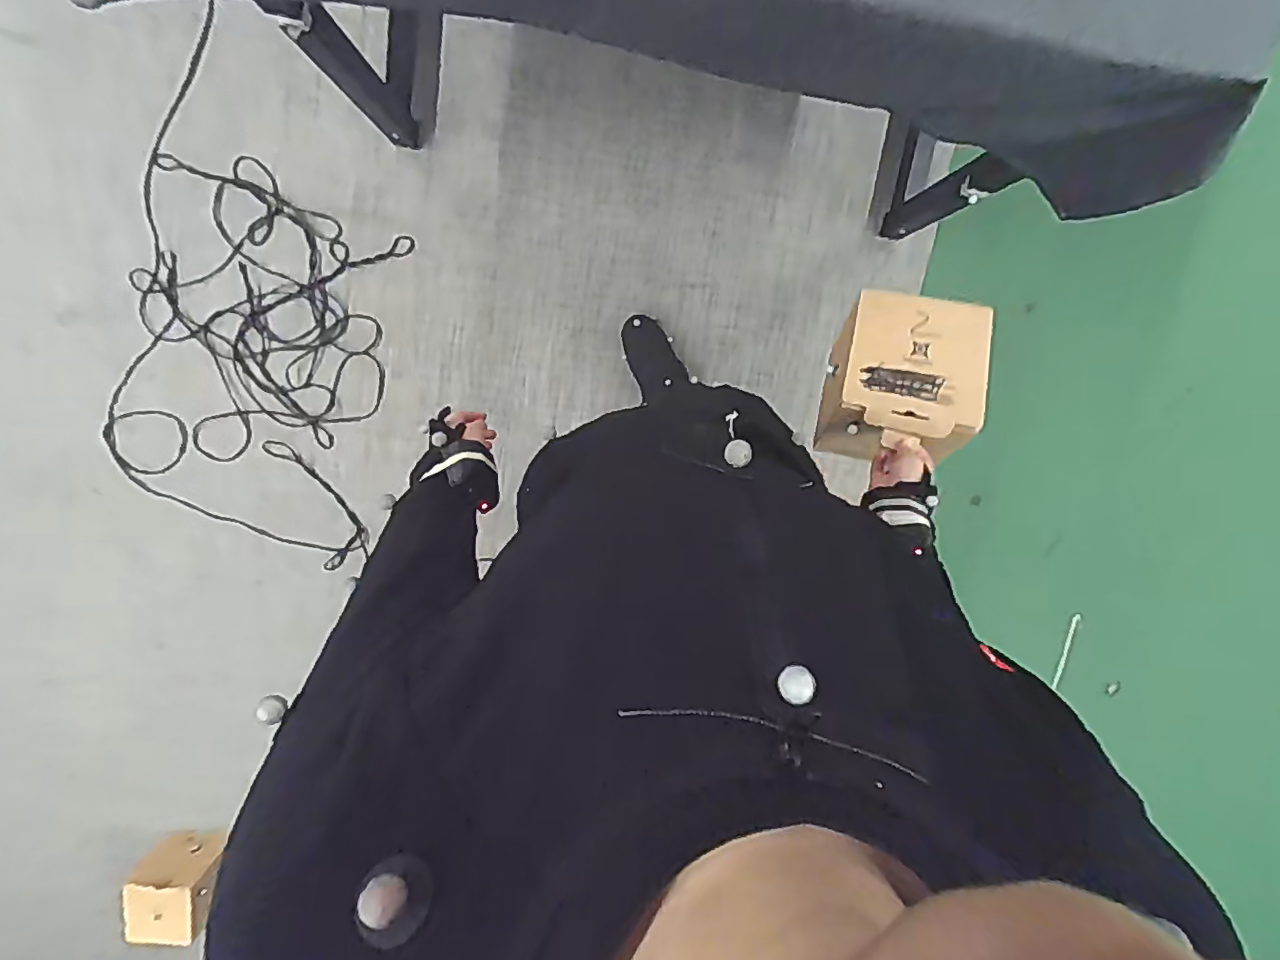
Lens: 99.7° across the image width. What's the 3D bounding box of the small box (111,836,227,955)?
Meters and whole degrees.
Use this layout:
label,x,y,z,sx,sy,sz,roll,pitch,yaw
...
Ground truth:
label,x,y,z,sx,sy,sz,roll,pitch,yaw
small box,-1.222,1.081,1.415,0.168,0.176,0.179,7,100,-3
